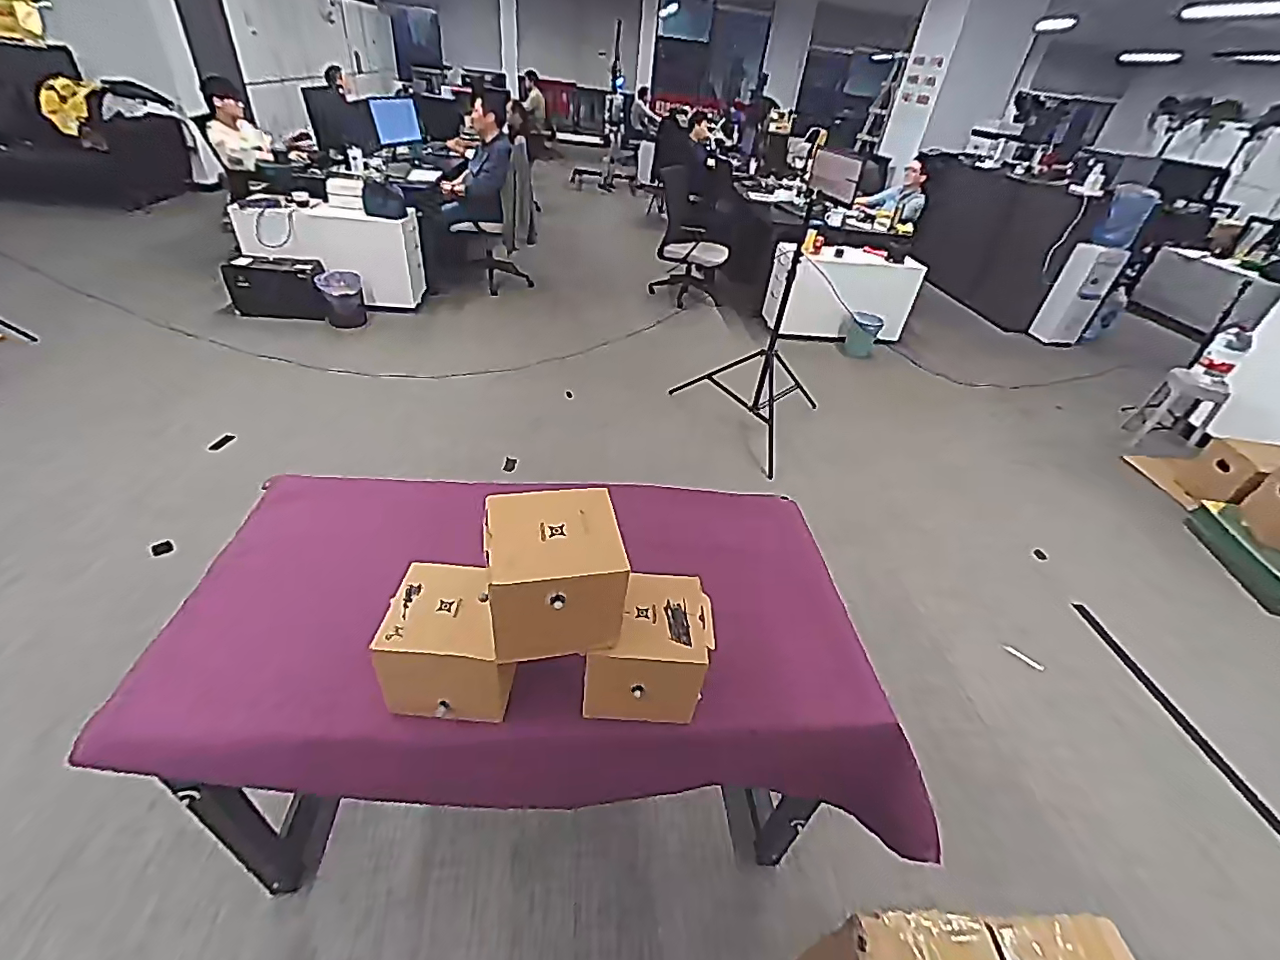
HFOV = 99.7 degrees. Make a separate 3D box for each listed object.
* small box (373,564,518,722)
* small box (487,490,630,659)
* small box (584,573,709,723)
[{"bbox_3d":[-0.284,0.257,0.848,0.179,0.176,0.168,6,36,-3],"label":"small box"},{"bbox_3d":[-0.120,0.133,0.768,0.179,0.176,0.168,-4,39,-15],"label":"small box"},{"bbox_3d":[0.006,0.272,0.876,0.179,0.176,0.168,4,36,-3],"label":"small box"}]
